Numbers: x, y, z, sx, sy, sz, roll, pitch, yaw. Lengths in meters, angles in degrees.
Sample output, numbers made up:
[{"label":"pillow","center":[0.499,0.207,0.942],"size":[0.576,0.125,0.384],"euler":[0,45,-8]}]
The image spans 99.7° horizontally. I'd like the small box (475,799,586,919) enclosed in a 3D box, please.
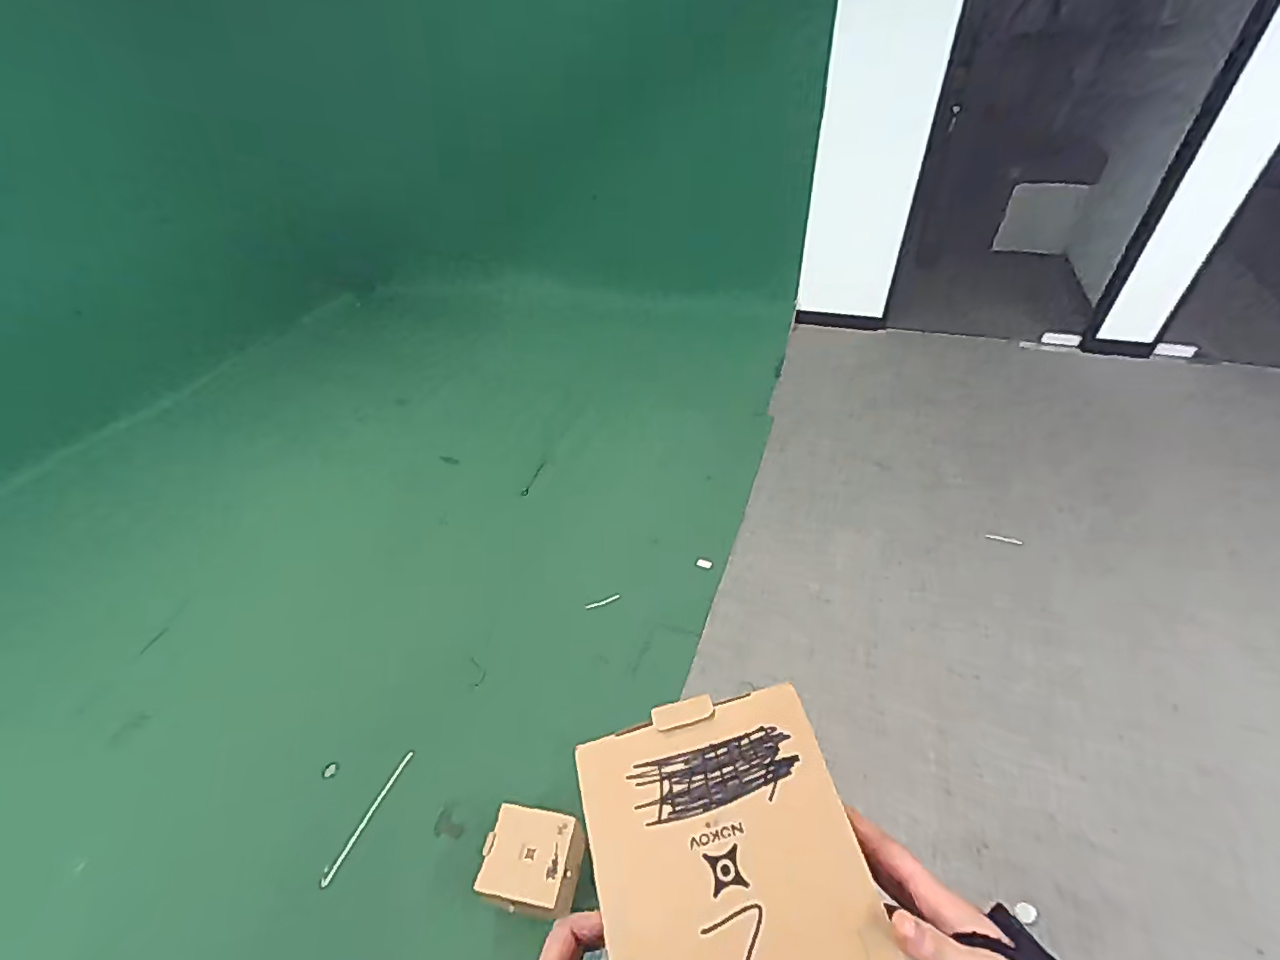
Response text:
[{"label":"small box","center":[-0.230,0.835,1.189],"size":[0.179,0.176,0.168],"euler":[5,43,11]}]
